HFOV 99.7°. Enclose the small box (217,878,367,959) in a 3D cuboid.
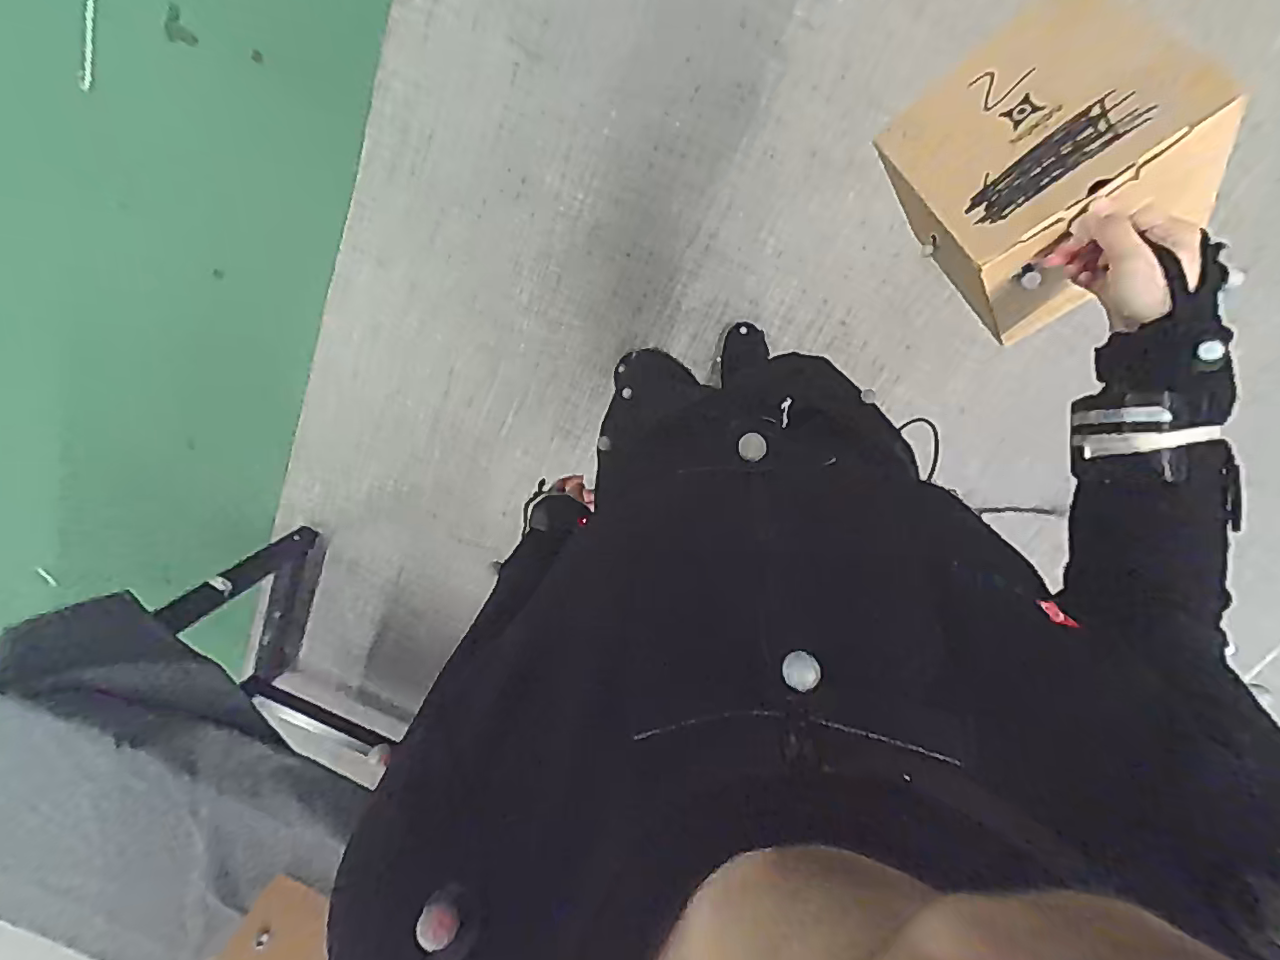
[{"bbox_3d":[-0.597,0.806,0.892,0.179,0.176,0.168,33,111,-6],"label":"small box"}]
